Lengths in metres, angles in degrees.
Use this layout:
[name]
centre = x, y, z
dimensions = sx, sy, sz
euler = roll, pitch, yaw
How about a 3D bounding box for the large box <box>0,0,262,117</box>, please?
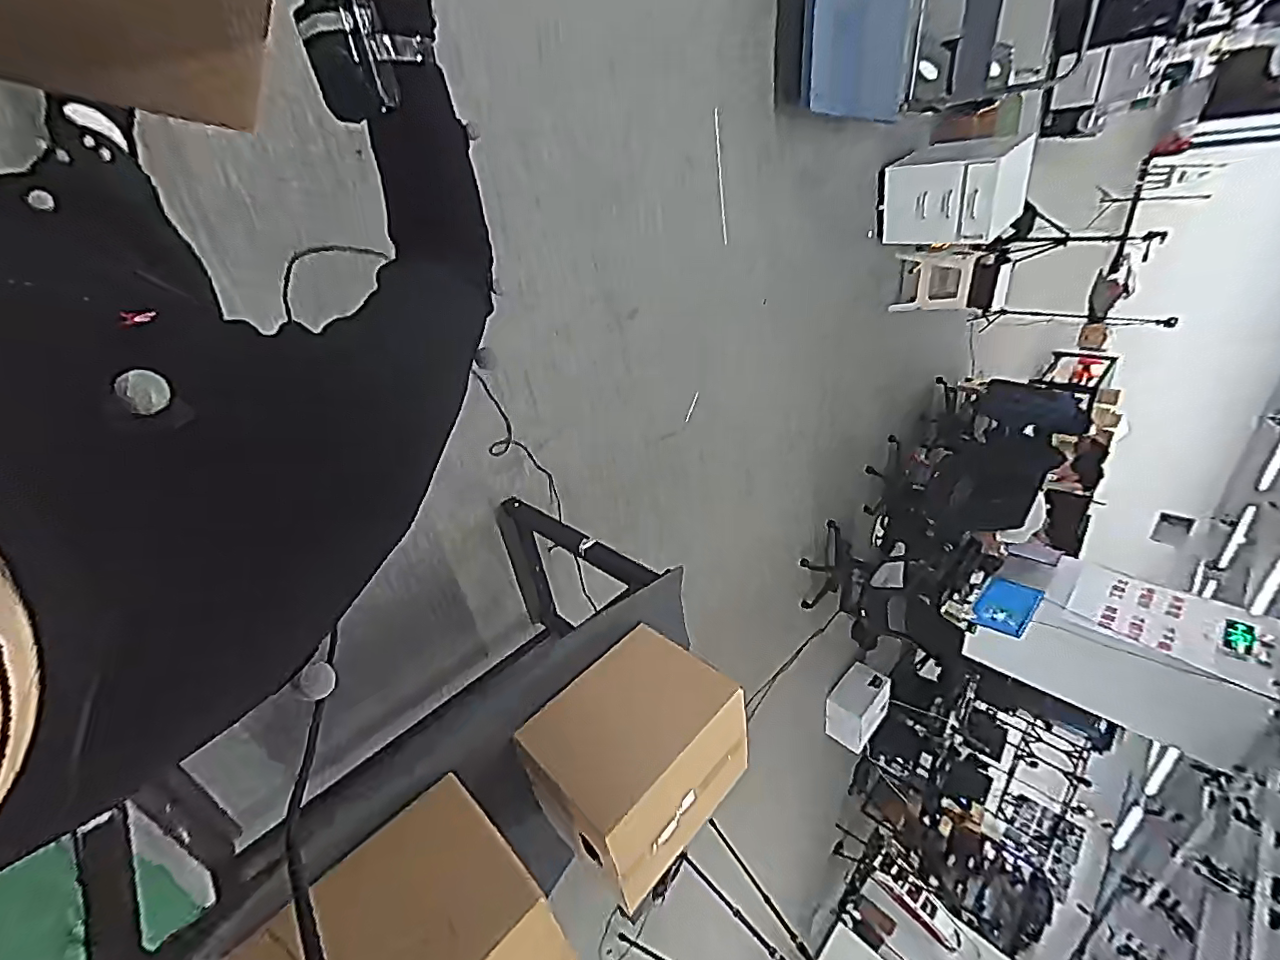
[large box]
centre = -0.465, -0.473, 0.284
dimensions = 0.408, 0.320, 0.320
euler = -10, 99, -39
